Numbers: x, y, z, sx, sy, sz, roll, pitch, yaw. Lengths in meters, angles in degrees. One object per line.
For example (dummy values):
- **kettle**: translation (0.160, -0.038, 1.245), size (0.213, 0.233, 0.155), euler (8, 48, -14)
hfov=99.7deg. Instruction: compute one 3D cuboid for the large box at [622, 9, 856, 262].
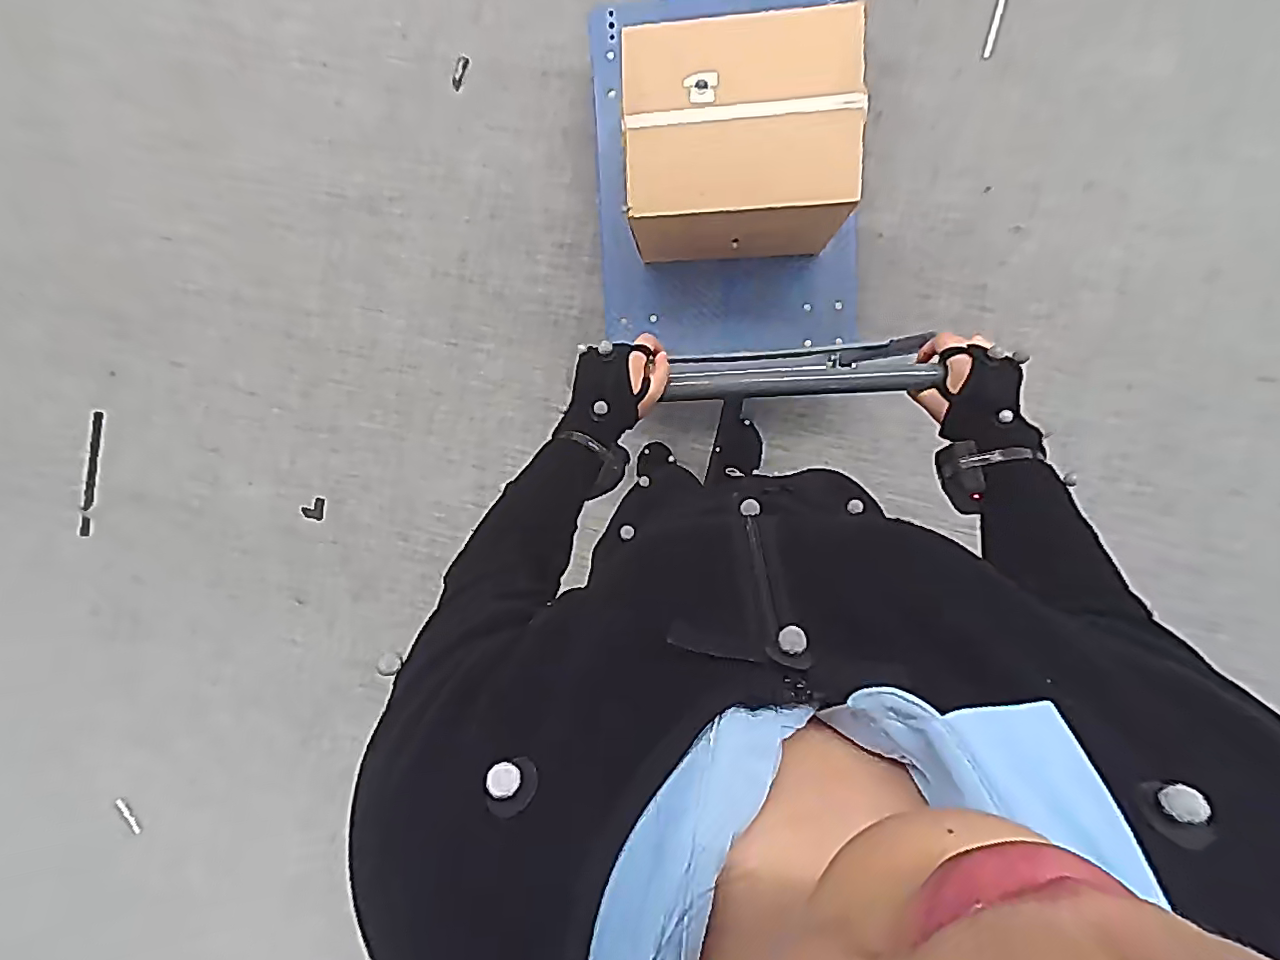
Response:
- **large box**: translation (0.192, -0.650, 1.092), size (0.408, 0.320, 0.320), euler (-1, 96, 7)
